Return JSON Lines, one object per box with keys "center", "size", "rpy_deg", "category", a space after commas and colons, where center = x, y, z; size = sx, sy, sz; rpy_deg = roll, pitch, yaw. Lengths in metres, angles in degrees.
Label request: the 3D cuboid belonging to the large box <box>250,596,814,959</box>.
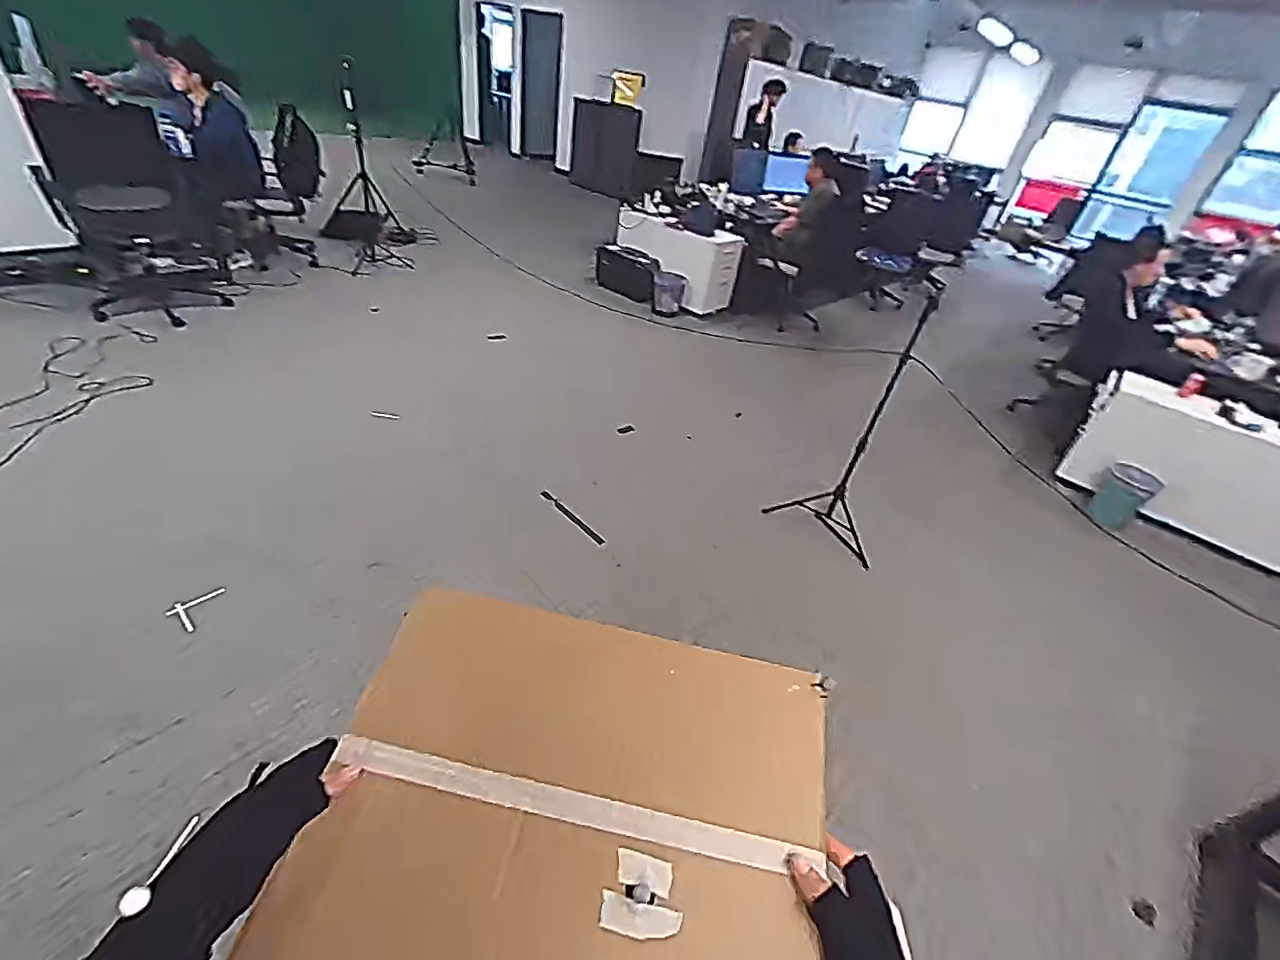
{"center": [-0.066, 0.364, 0.565], "size": [0.408, 0.320, 0.320], "rpy_deg": [12, 50, 4], "category": "large box"}
